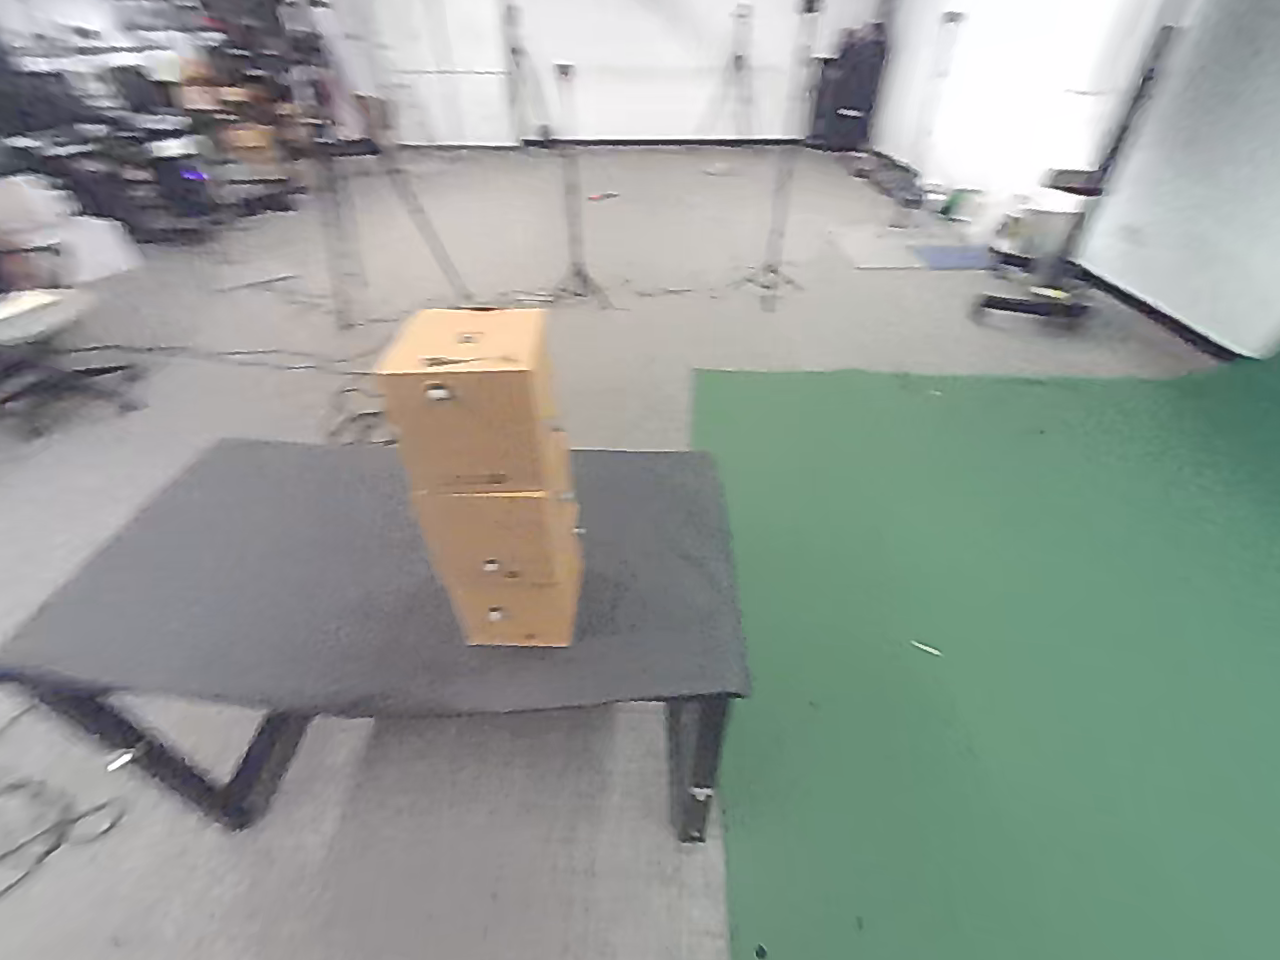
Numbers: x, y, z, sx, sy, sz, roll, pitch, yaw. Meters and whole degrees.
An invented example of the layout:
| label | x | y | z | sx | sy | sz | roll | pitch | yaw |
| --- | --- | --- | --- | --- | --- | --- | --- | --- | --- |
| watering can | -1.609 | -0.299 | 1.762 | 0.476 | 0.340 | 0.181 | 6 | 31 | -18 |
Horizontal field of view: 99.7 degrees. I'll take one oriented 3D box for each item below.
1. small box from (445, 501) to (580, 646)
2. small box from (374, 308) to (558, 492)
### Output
| label | x | y | z | sx | sy | sz | roll | pitch | yaw |
| --- | --- | --- | --- | --- | --- | --- | --- | --- | --- |
| small box | -0.193 | 0.152 | 0.882 | 0.168 | 0.176 | 0.179 | 1 | 39 | 2 |
| small box | -0.197 | -0.103 | 0.674 | 0.168 | 0.176 | 0.179 | -2 | 38 | -1 |
